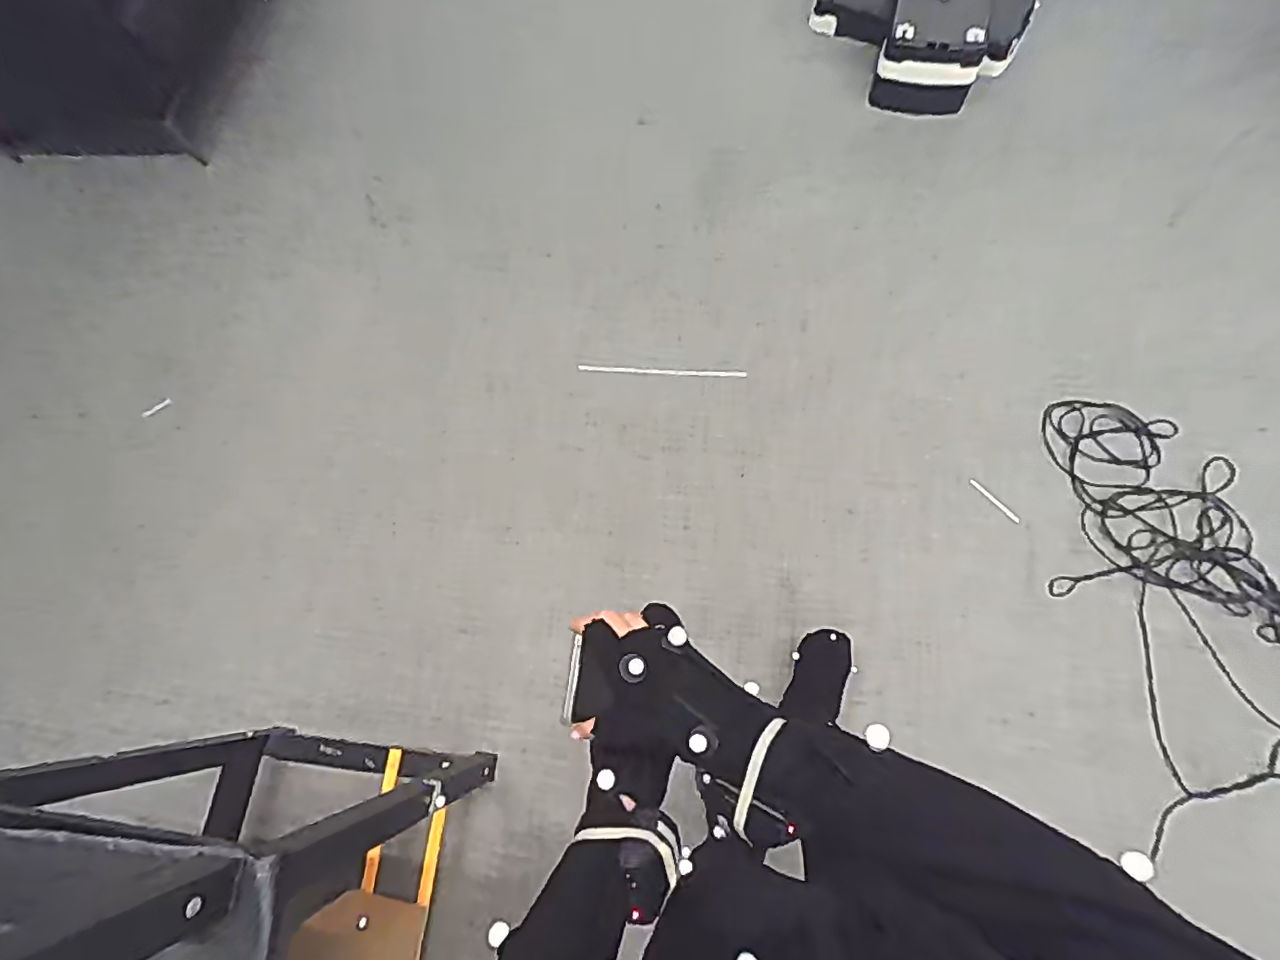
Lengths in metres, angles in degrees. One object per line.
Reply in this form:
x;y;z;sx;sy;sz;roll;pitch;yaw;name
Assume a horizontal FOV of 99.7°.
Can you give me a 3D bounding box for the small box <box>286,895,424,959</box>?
-0.528;0.900;0.990;0.179;0.176;0.168;7;72;8;small box
